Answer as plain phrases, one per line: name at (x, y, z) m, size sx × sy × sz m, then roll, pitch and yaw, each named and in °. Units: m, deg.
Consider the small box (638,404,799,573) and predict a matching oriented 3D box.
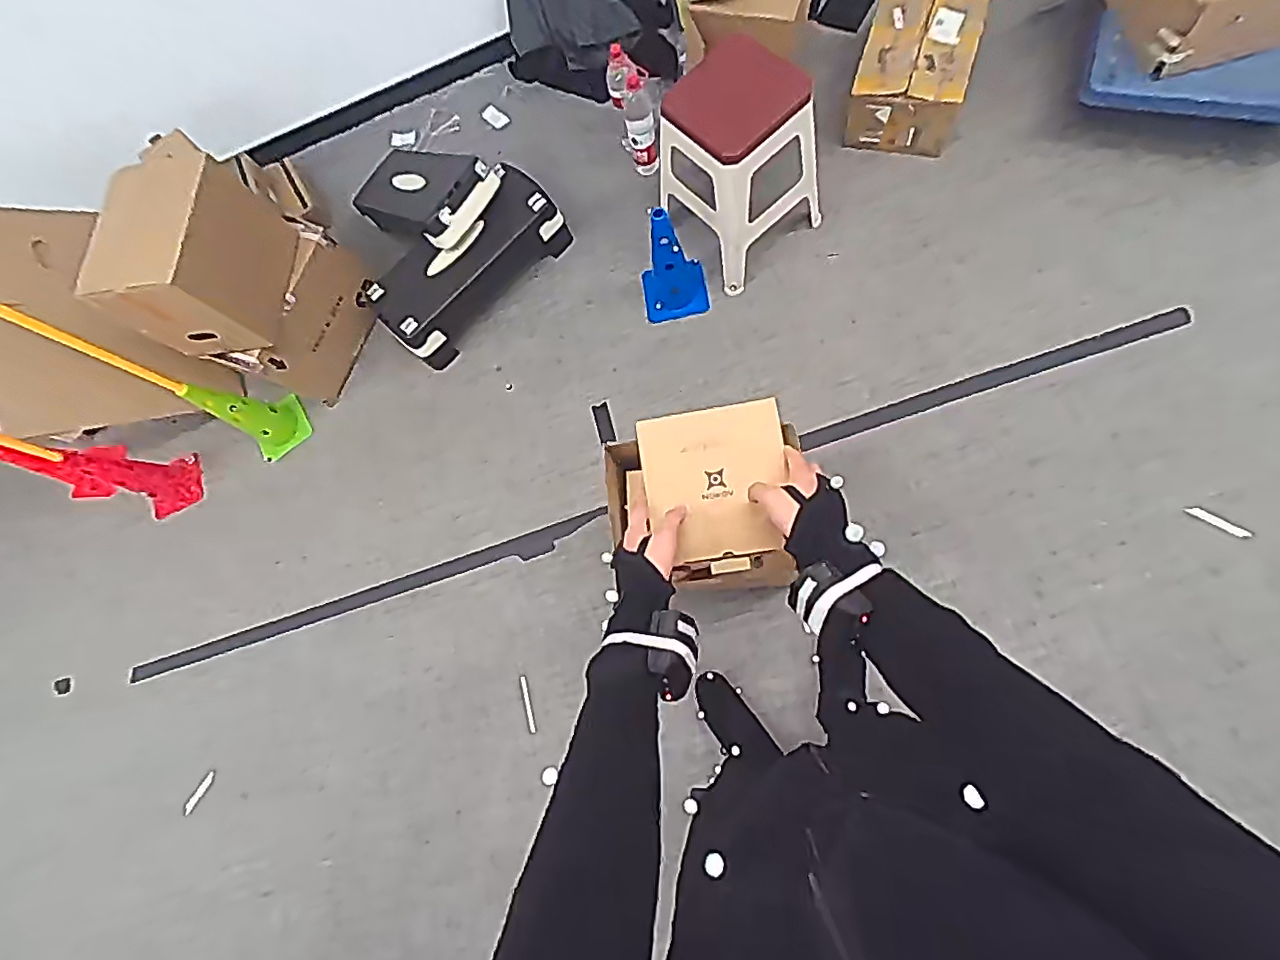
small box at (0.098, 0.020, 0.694) m, size 0.168 × 0.176 × 0.179 m, roll -9°, pitch 79°, yaw 6°
